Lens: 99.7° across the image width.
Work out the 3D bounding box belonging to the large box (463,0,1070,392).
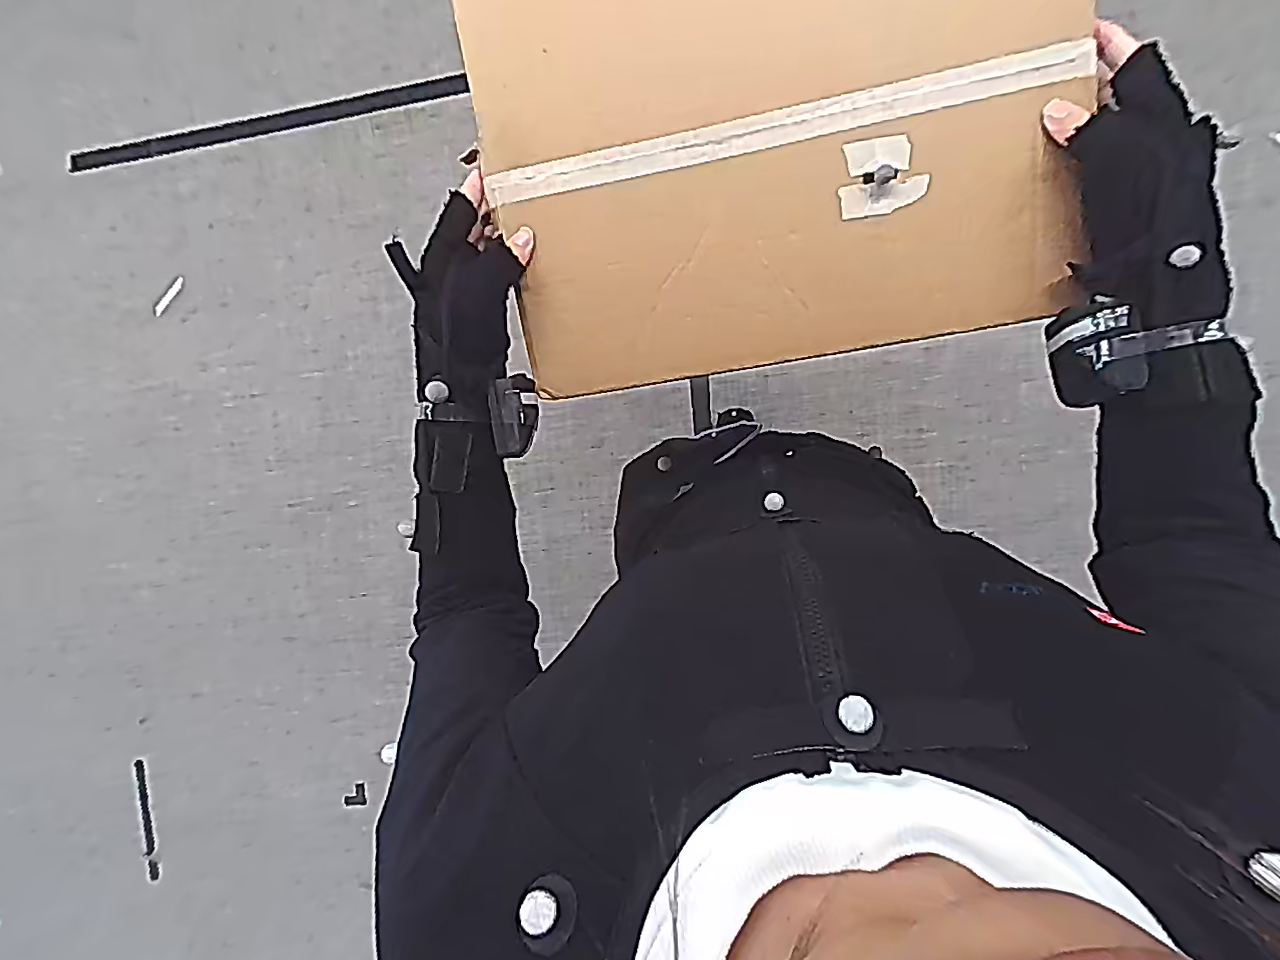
[{"bbox_3d":[0.103,-0.285,0.530,0.408,0.320,0.320,-9,104,7],"label":"large box"}]
